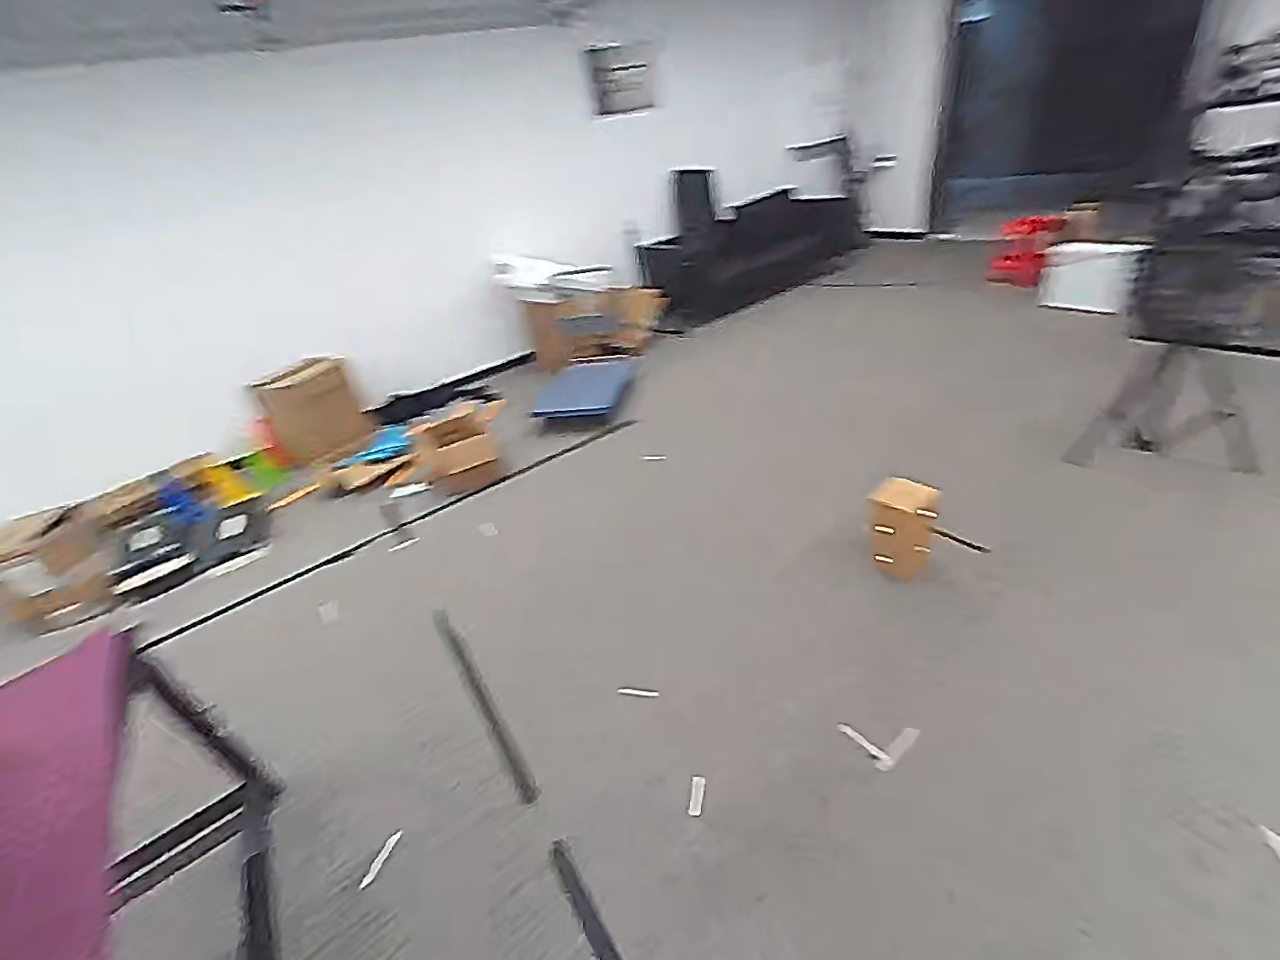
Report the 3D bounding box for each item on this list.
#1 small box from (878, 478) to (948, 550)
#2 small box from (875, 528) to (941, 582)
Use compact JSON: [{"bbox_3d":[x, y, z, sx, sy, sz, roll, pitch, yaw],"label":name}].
[{"bbox_3d":[0.997,0.124,1.991,0.179,0.176,0.168,-29,35,-25],"label":"small box"},{"bbox_3d":[1.025,0.261,2.075,0.179,0.176,0.168,-29,36,-27],"label":"small box"}]
